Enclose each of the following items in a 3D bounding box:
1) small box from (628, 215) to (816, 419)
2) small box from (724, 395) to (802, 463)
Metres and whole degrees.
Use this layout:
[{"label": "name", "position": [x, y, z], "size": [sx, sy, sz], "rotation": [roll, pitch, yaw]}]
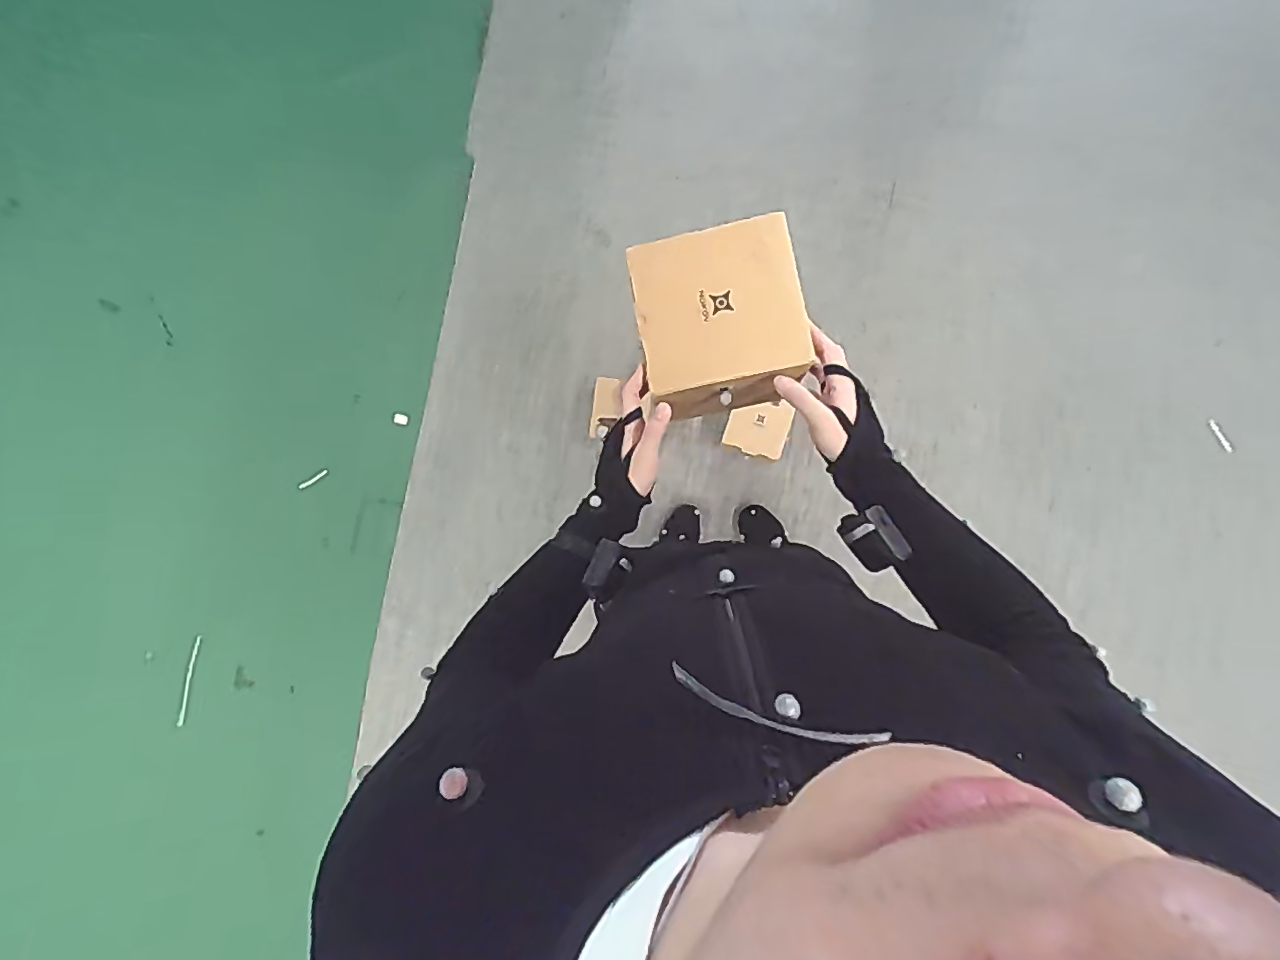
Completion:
[{"label": "small box", "position": [0.094, -0.179, 0.648], "size": [0.179, 0.176, 0.168], "rotation": [-11, 85, 7]}, {"label": "small box", "position": [0.348, -0.155, 1.551], "size": [0.168, 0.176, 0.179], "rotation": [19, 91, 8]}]
